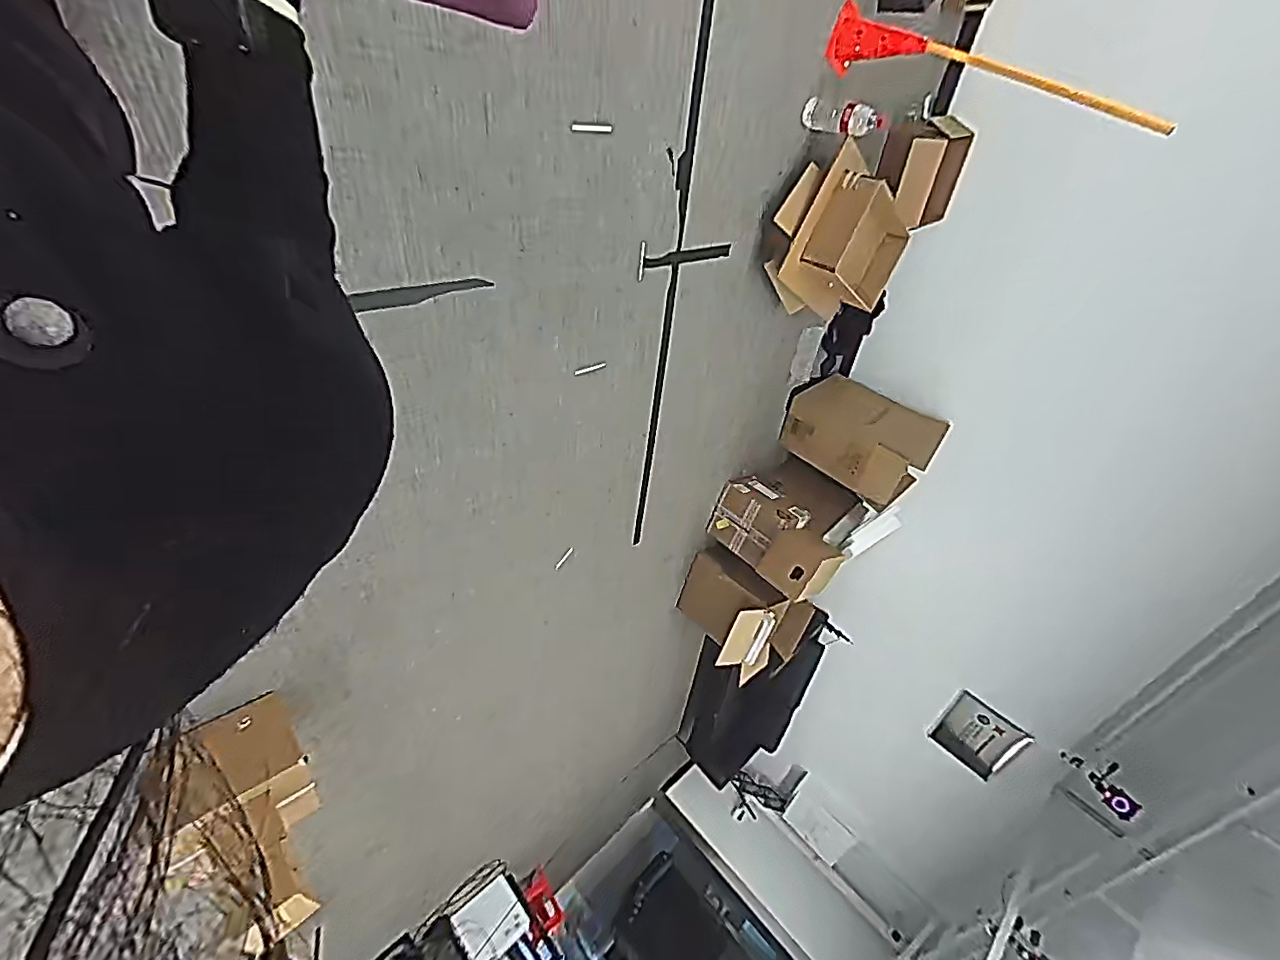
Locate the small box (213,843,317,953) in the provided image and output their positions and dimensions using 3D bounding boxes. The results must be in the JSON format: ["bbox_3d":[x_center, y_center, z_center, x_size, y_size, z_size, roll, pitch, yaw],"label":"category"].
[{"bbox_3d":[-1.055,1.169,1.521,0.168,0.176,0.179,-31,142,-30],"label":"small box"}]

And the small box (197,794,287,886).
[{"bbox_3d":[-1.168,1.077,1.594,0.179,0.176,0.168,-19,133,-42],"label":"small box"}]
